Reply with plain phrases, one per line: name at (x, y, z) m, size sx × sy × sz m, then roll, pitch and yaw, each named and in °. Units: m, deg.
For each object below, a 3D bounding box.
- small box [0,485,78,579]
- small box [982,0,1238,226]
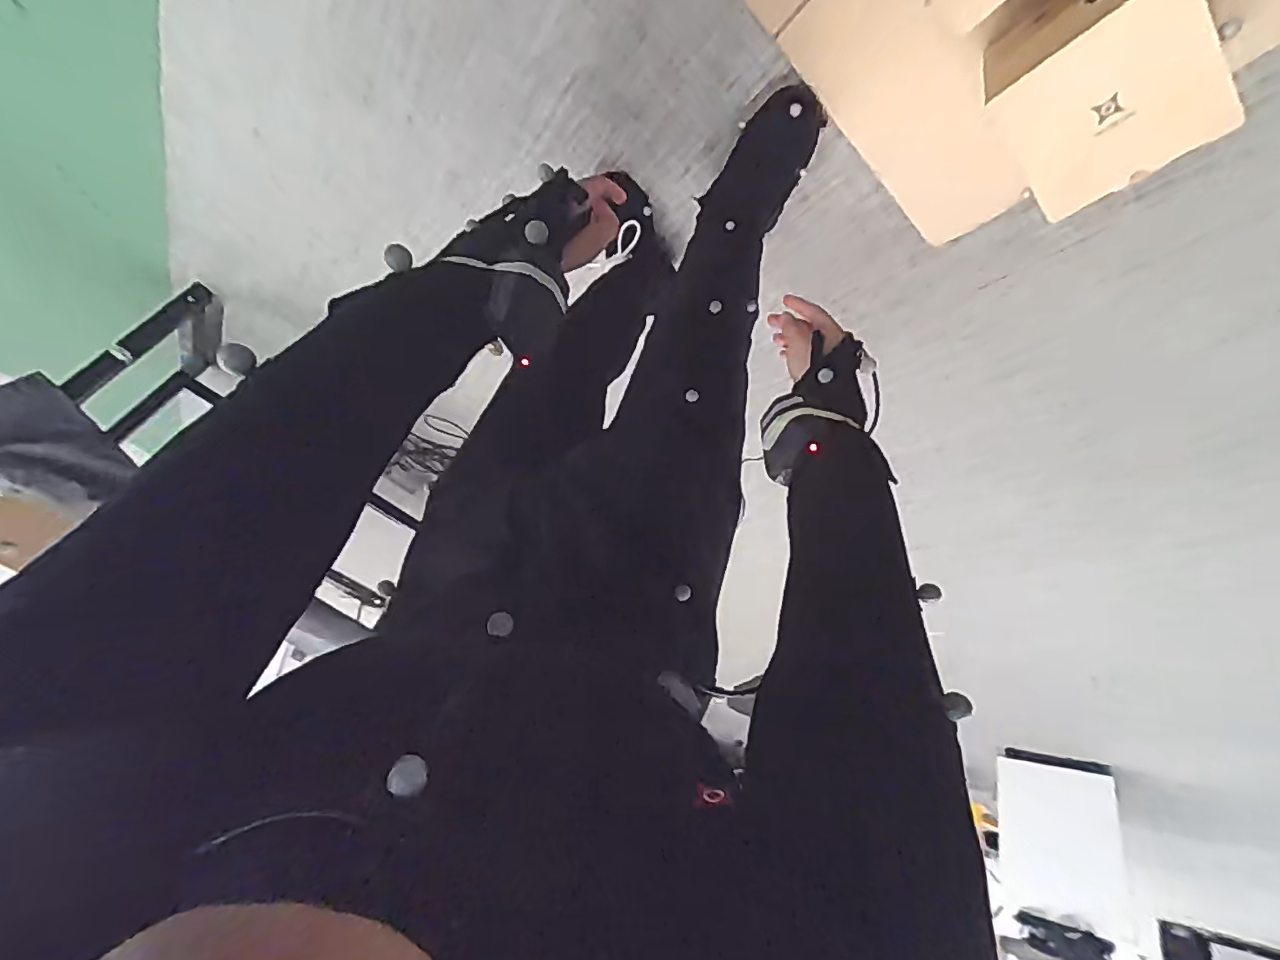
small box at (-1.622, 0.138, 1.403) m, size 0.168 × 0.176 × 0.179 m, roll -17°, pitch 130°, yaw 44°
small box at (0.505, -0.436, 0.602) m, size 0.179 × 0.176 × 0.168 m, roll 39°, pitch 144°, yaw -23°
